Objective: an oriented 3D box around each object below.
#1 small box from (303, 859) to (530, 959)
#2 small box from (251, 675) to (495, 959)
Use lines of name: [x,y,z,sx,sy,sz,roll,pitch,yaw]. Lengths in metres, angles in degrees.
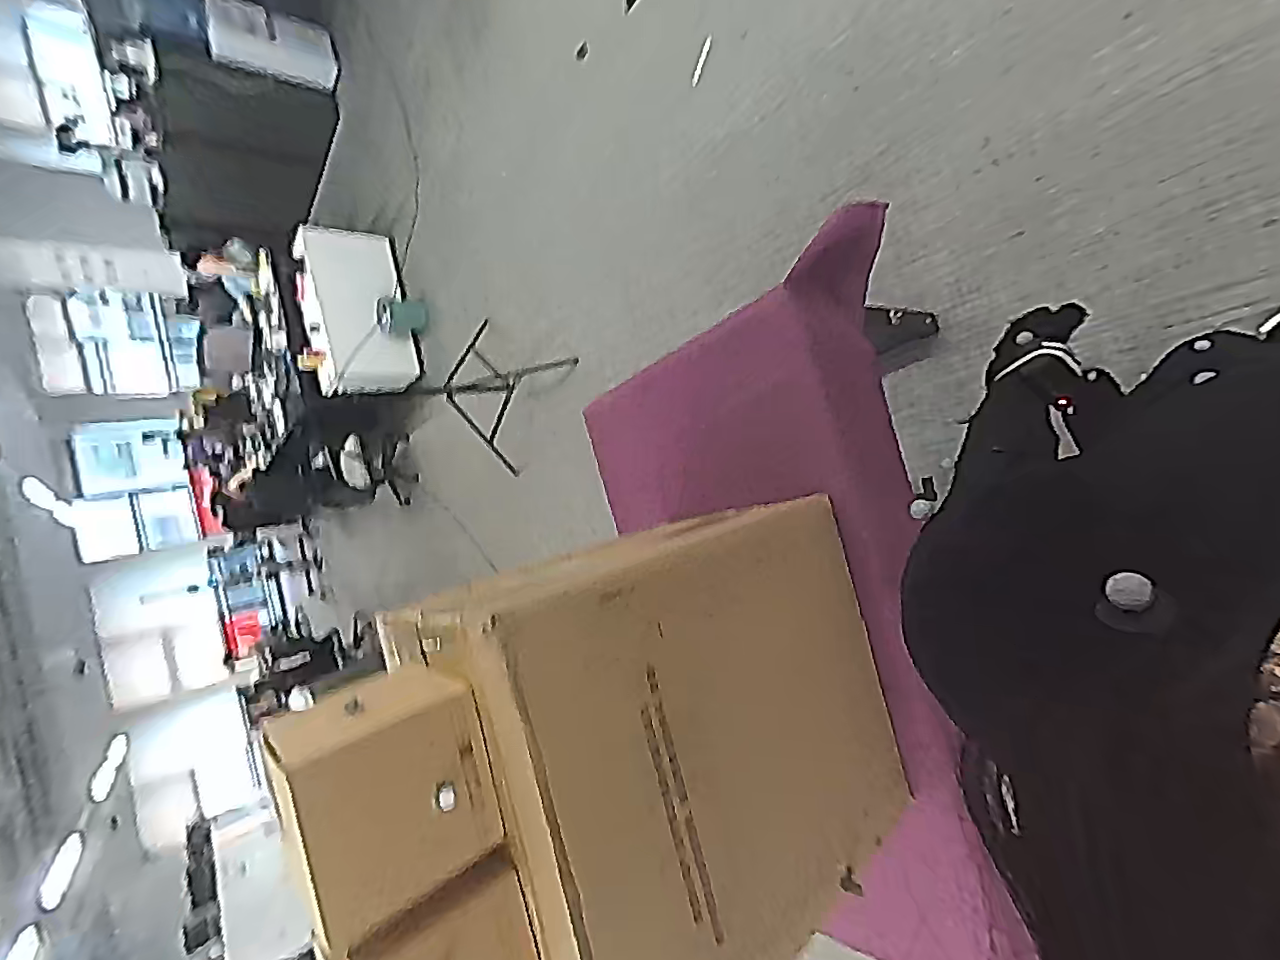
small box: [-0.209,0.515,0.533,0.168,0.176,0.179,-27,79,49]
small box: [-0.272,0.317,0.552,0.179,0.176,0.168,-11,92,48]
